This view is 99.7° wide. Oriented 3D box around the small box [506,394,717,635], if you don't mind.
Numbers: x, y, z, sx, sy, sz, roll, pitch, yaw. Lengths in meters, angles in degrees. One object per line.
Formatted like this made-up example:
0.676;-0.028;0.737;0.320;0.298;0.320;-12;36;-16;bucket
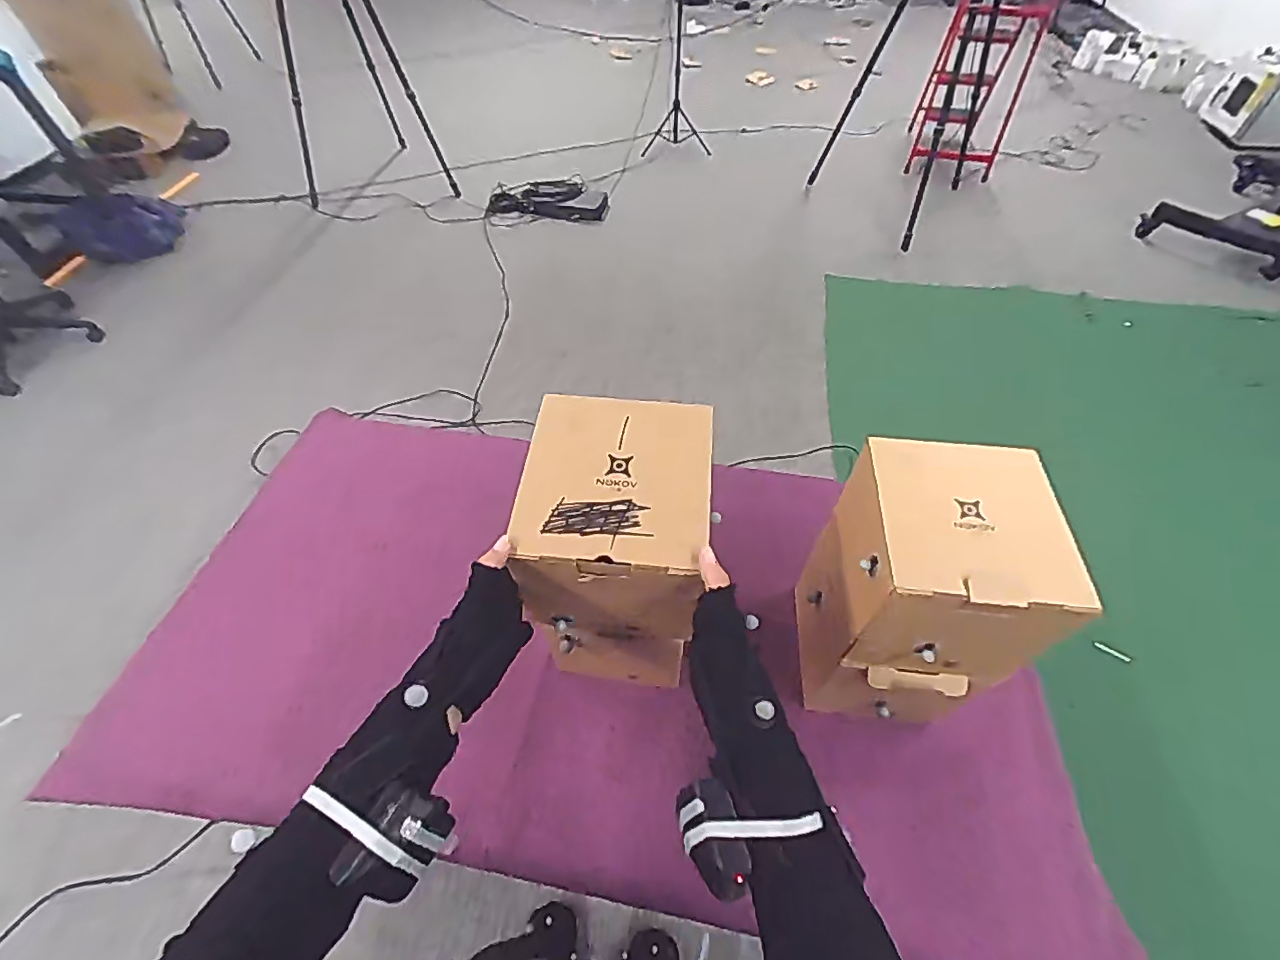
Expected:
-0.016;0.040;0.533;0.168;0.176;0.179;5;56;3;small box

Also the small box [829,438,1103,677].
0.304;0.082;0.557;0.168;0.176;0.179;5;53;4;small box

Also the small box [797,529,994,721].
0.301;0.185;0.685;0.168;0.176;0.179;5;53;5;small box
